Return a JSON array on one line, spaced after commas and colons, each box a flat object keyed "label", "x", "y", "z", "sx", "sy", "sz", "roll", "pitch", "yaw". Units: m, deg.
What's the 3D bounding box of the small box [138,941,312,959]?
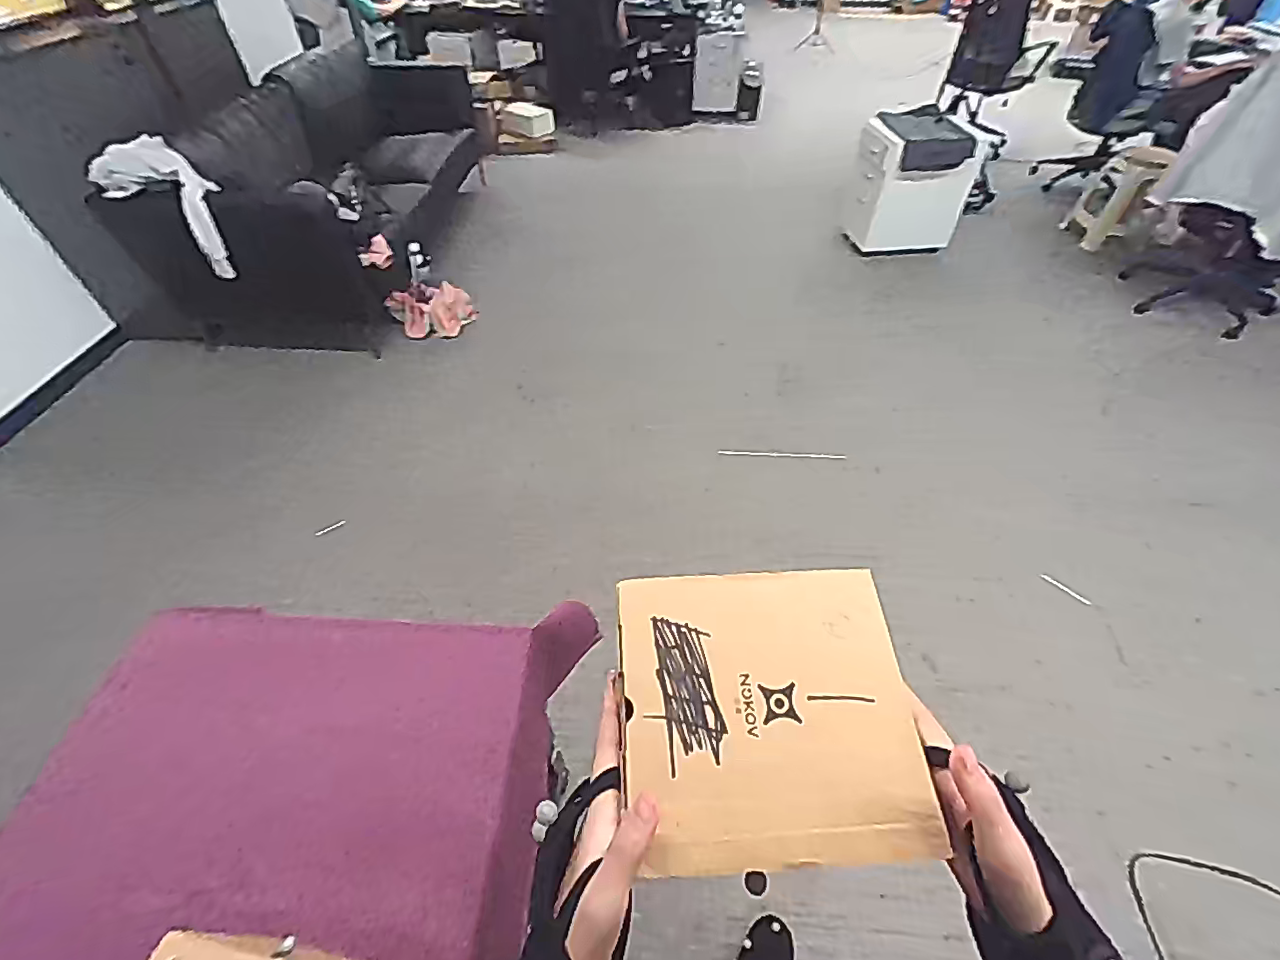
[{"label": "small box", "x": -0.347, "y": 0.514, "z": 0.446, "sx": 0.168, "sy": 0.176, "sz": 0.179, "roll": 8, "pitch": 48, "yaw": 7}]

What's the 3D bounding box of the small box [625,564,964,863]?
[{"label": "small box", "x": 0.080, "y": 0.171, "z": 0.388, "sx": 0.179, "sy": 0.176, "sz": 0.168, "roll": -1, "pitch": 57, "yaw": -3}]
